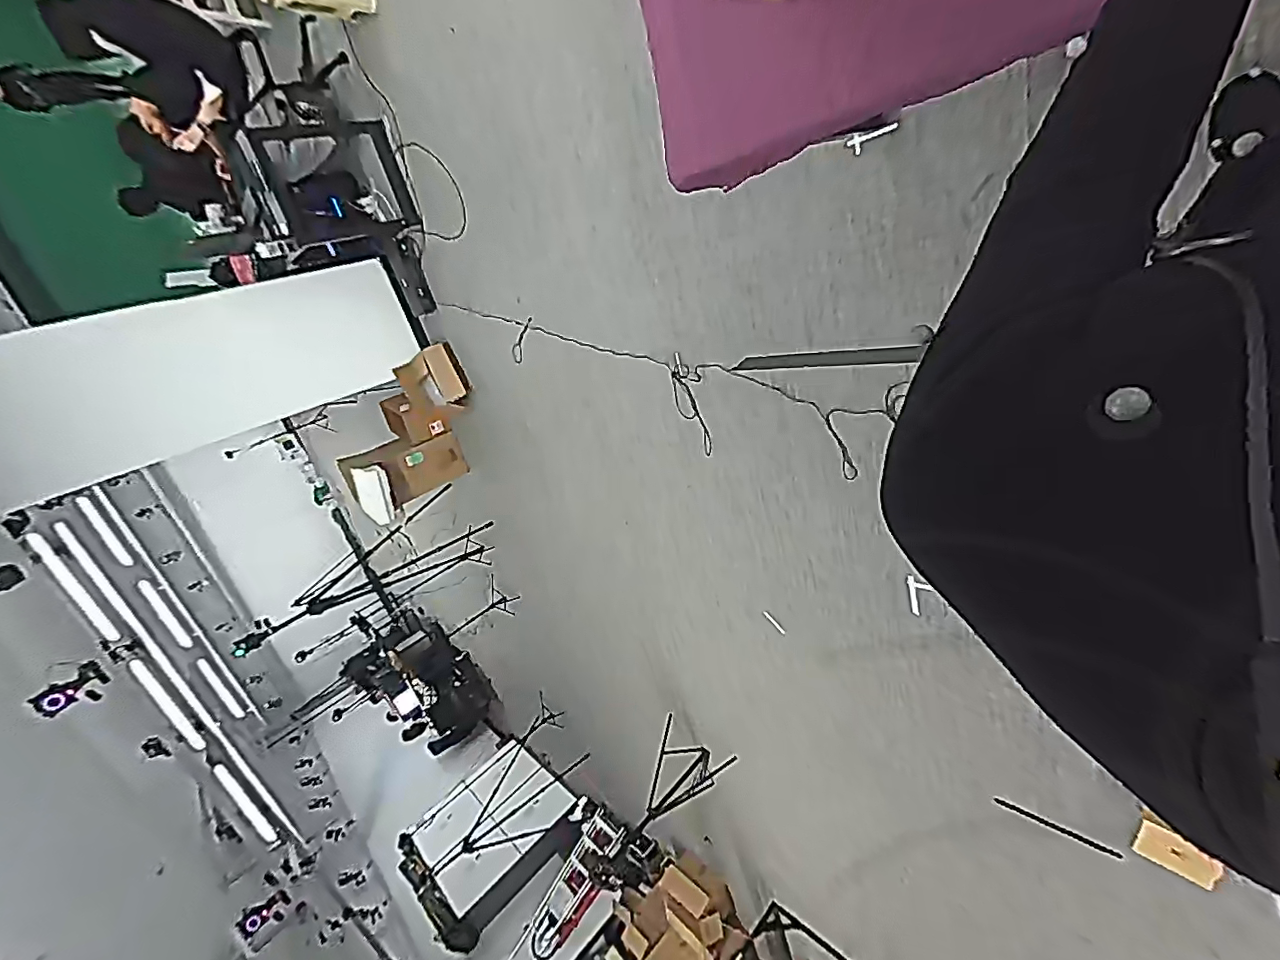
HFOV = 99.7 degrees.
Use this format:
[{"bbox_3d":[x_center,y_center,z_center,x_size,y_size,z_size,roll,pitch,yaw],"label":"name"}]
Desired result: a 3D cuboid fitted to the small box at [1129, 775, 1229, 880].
[{"bbox_3d":[1.609,1.026,1.616,0.179,0.176,0.168,17,129,43],"label":"small box"}]
